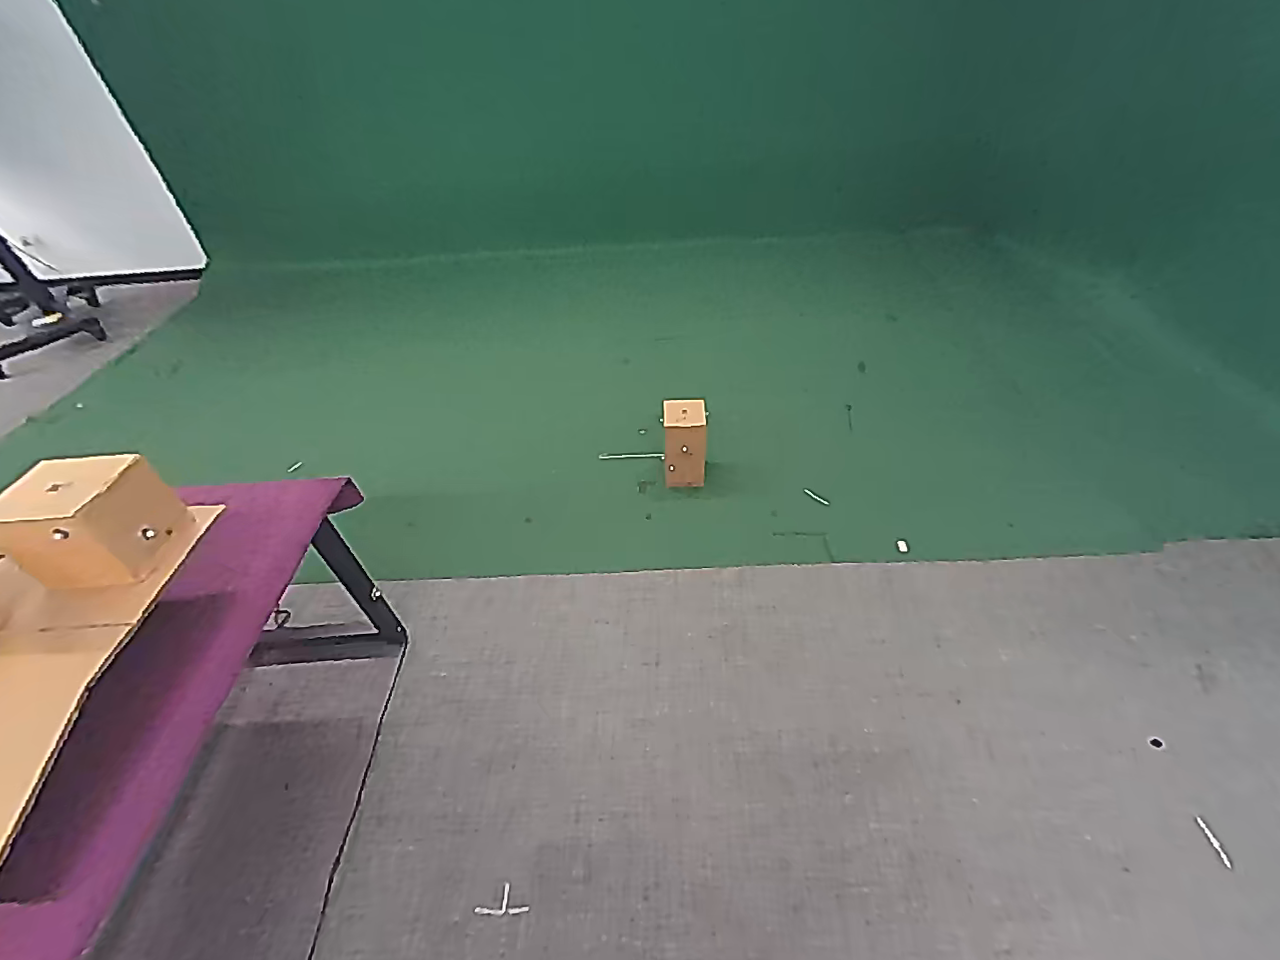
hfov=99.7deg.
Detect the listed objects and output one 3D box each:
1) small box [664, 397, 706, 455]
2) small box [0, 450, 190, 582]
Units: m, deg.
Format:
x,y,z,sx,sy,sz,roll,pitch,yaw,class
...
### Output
x,y,z,sx,sy,sz,roll,pitch,yaw,class
0.180,-0.220,2.204,0.168,0.176,0.179,-1,44,4,small box
-0.972,0.066,0.959,0.179,0.176,0.168,-4,41,-1,small box
